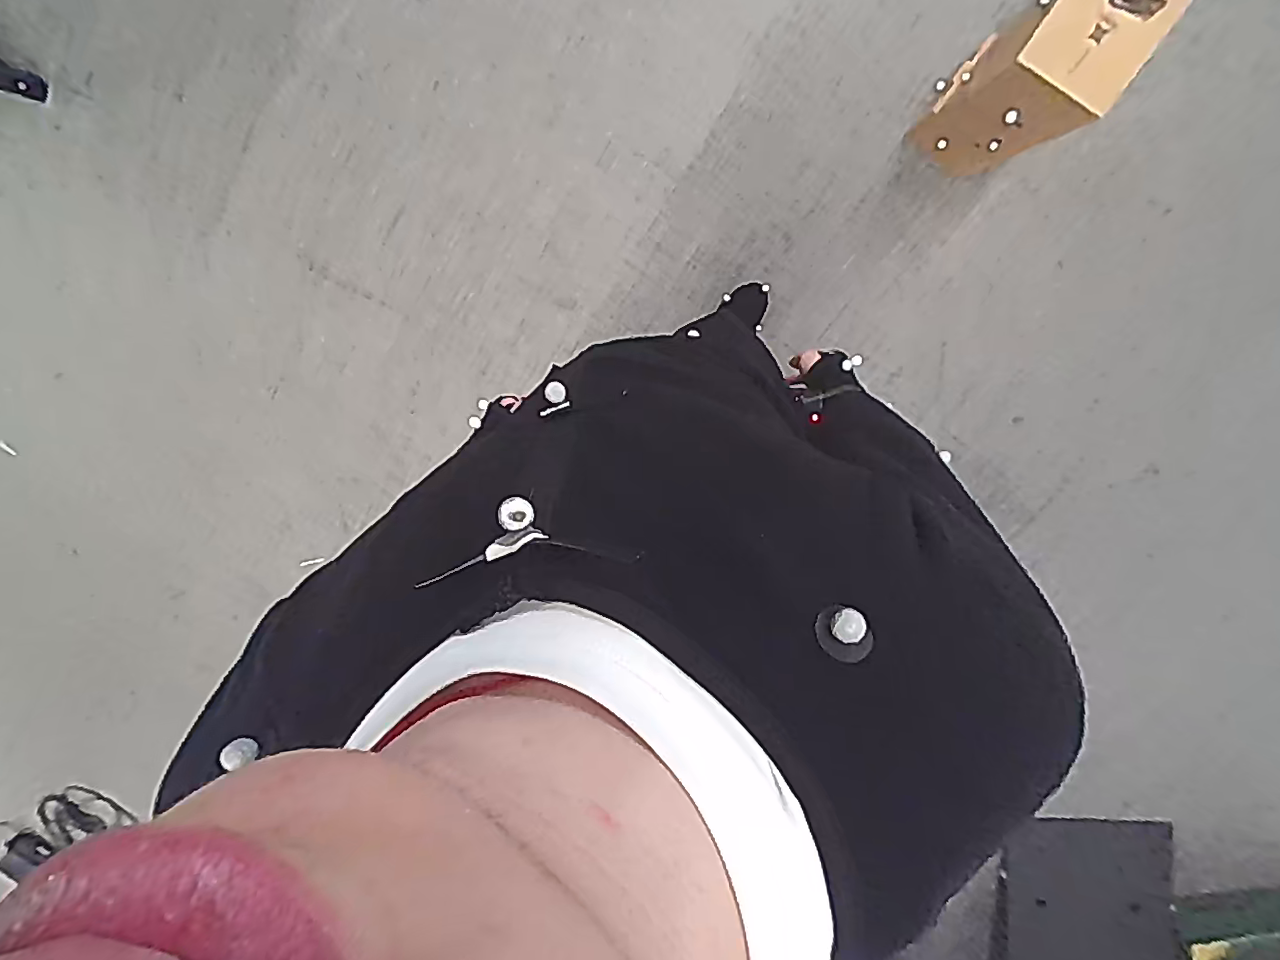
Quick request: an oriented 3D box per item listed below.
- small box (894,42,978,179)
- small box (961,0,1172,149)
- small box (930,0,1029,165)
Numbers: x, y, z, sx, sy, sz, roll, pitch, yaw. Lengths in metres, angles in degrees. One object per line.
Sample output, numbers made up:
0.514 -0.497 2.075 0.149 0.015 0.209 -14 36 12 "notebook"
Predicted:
0.713 -0.813 1.215 0.179 0.176 0.168 33 106 -7 "small box"
0.679 -0.693 0.889 0.168 0.176 0.179 34 107 -5 "small box"
0.700 -0.750 1.046 0.168 0.176 0.179 34 106 -8 "small box"
